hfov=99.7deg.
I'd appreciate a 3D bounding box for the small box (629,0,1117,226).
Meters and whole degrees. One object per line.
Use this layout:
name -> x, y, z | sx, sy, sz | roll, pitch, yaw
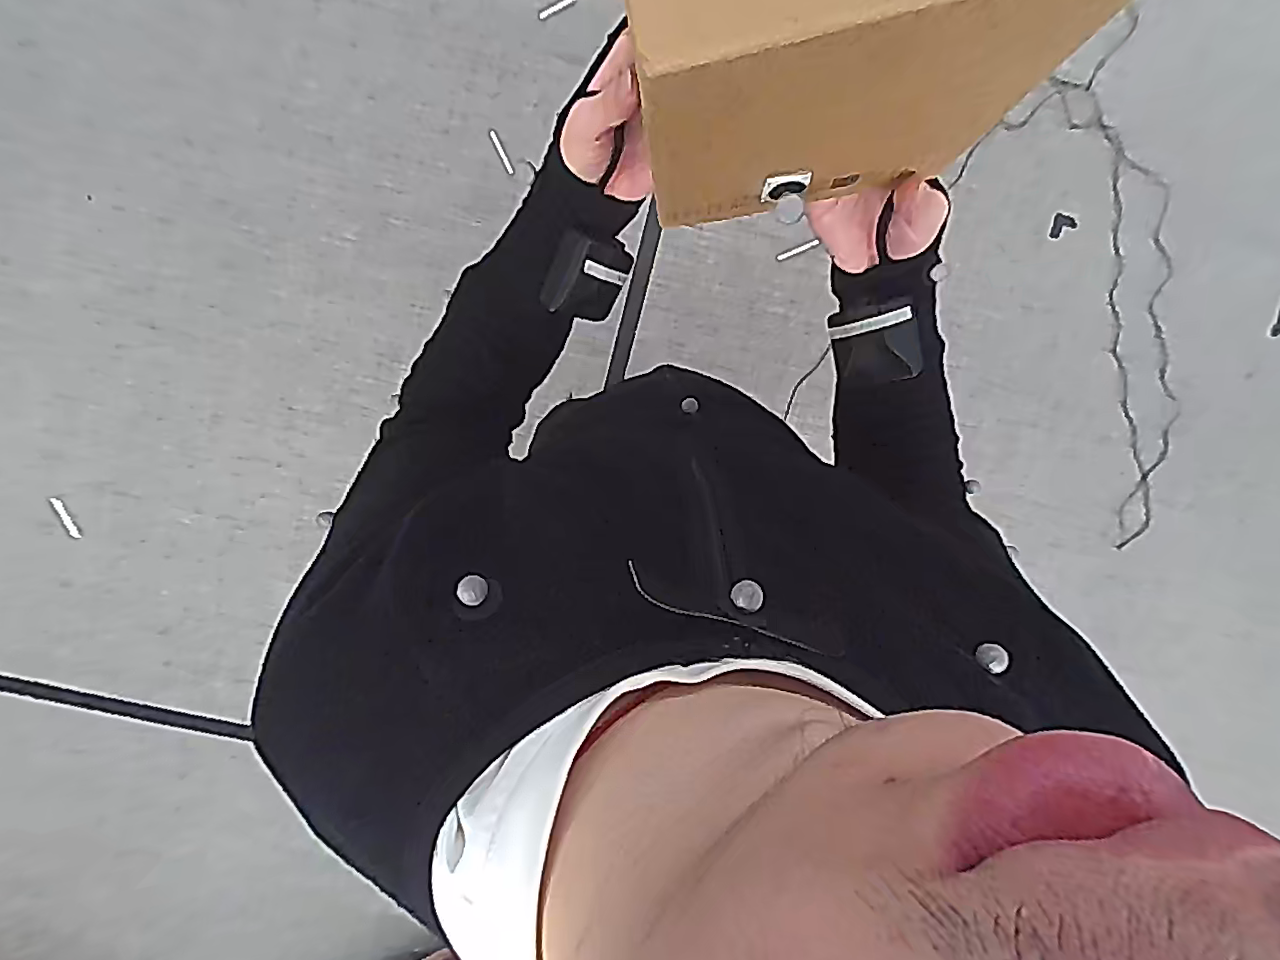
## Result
small box -> 0.076, -0.244, 0.243 | 0.168, 0.176, 0.179 | -10, 98, 7
